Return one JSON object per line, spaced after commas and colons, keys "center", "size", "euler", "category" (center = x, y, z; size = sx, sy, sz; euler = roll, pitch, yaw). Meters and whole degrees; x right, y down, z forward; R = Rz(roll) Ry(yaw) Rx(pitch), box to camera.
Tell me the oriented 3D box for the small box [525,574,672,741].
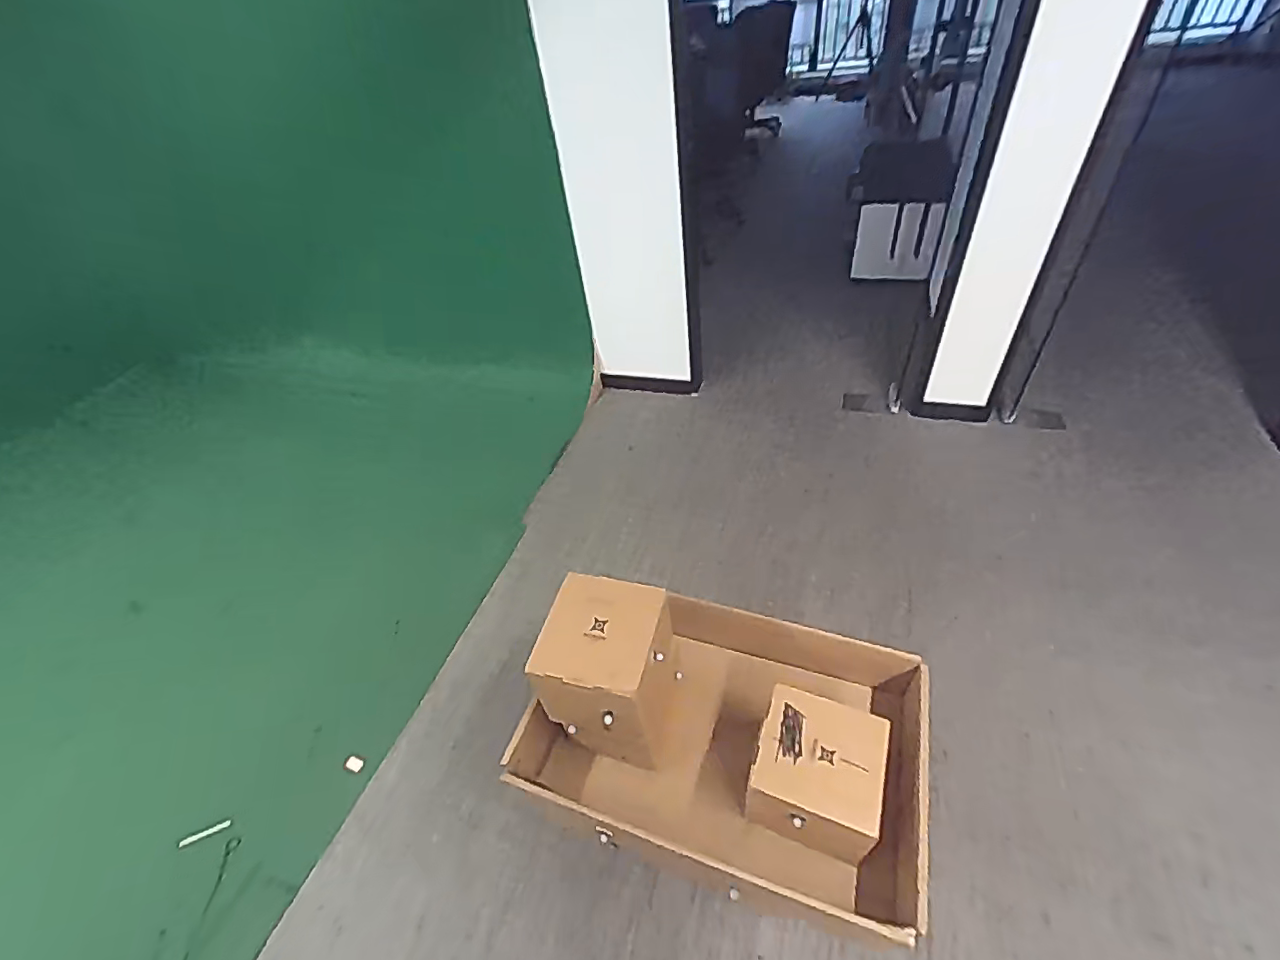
{"center": [-0.050, 0.276, 0.838], "size": [0.168, 0.176, 0.179], "euler": [8, 46, 16], "category": "small box"}
